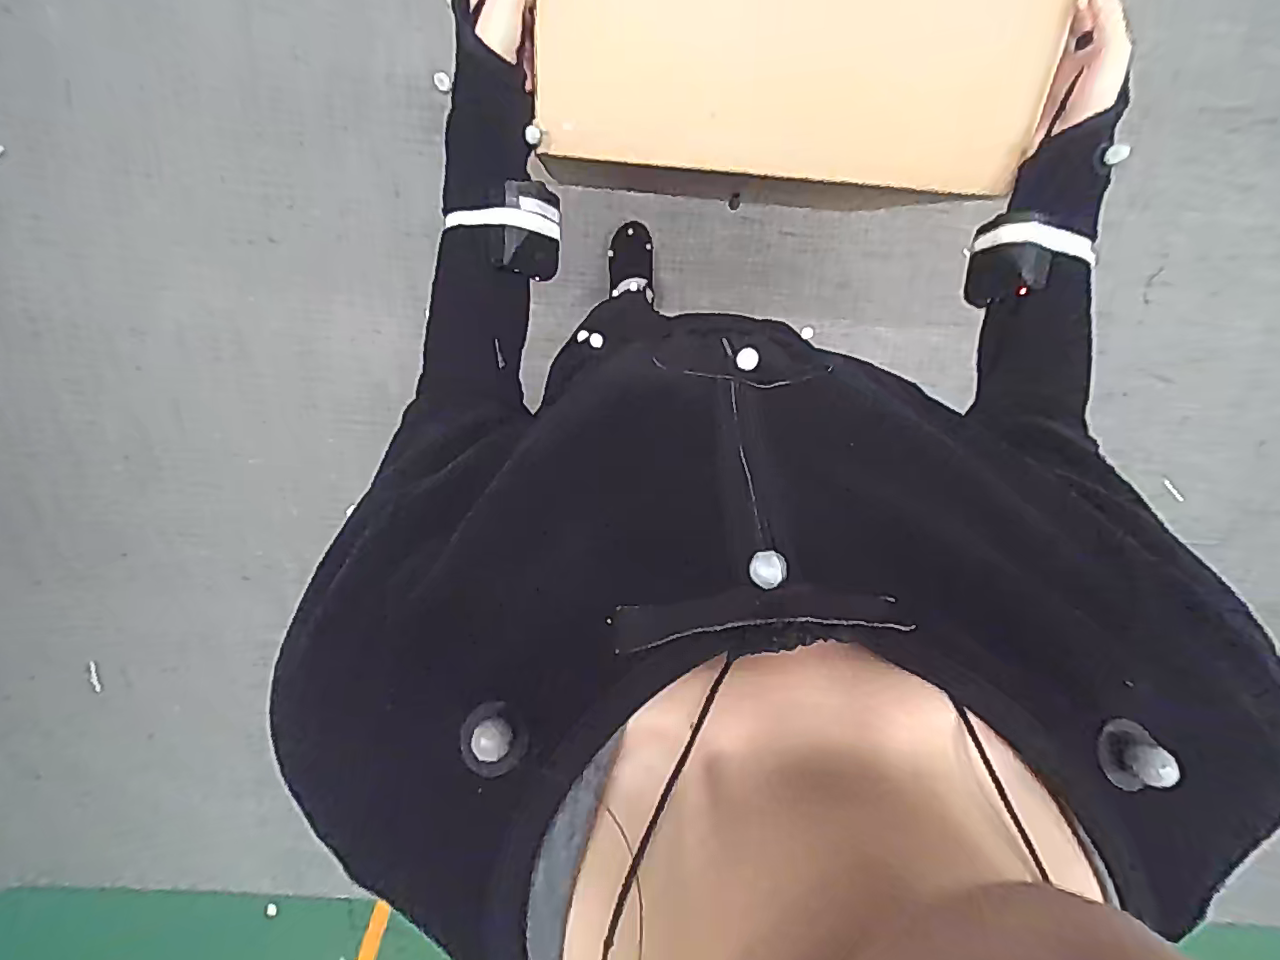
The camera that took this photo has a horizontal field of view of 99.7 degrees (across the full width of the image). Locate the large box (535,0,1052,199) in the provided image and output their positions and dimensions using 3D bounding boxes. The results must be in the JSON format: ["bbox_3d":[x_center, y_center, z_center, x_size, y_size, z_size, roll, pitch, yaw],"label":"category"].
[{"bbox_3d":[0.115,-0.459,0.525,0.408,0.320,0.320,1,113,-5],"label":"large box"}]
